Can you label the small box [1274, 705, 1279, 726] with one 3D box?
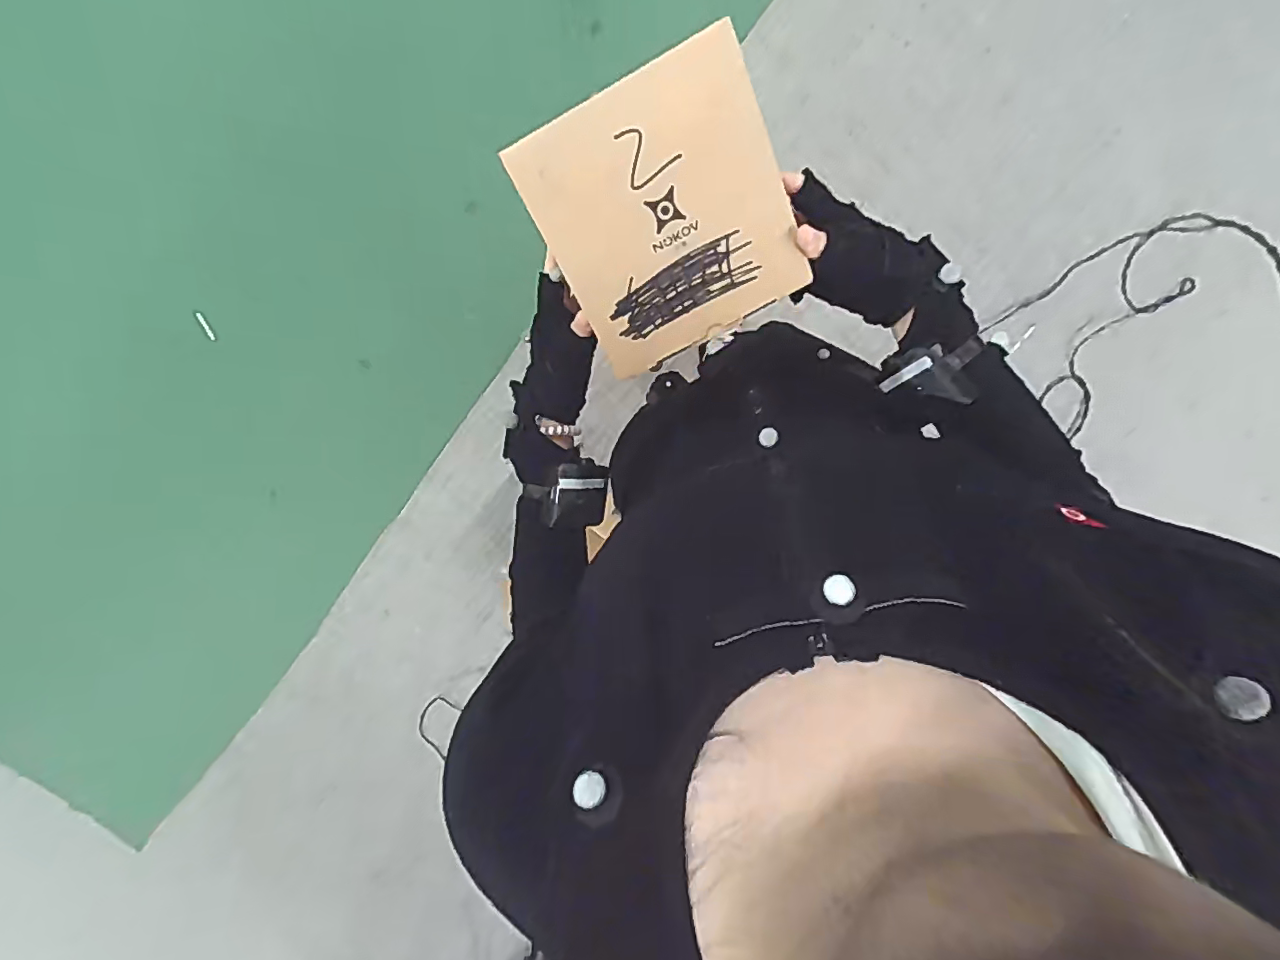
[{"bbox_3d":[1.950,0.694,1.501,0.168,0.176,0.179,37,102,-6],"label":"small box"}]
